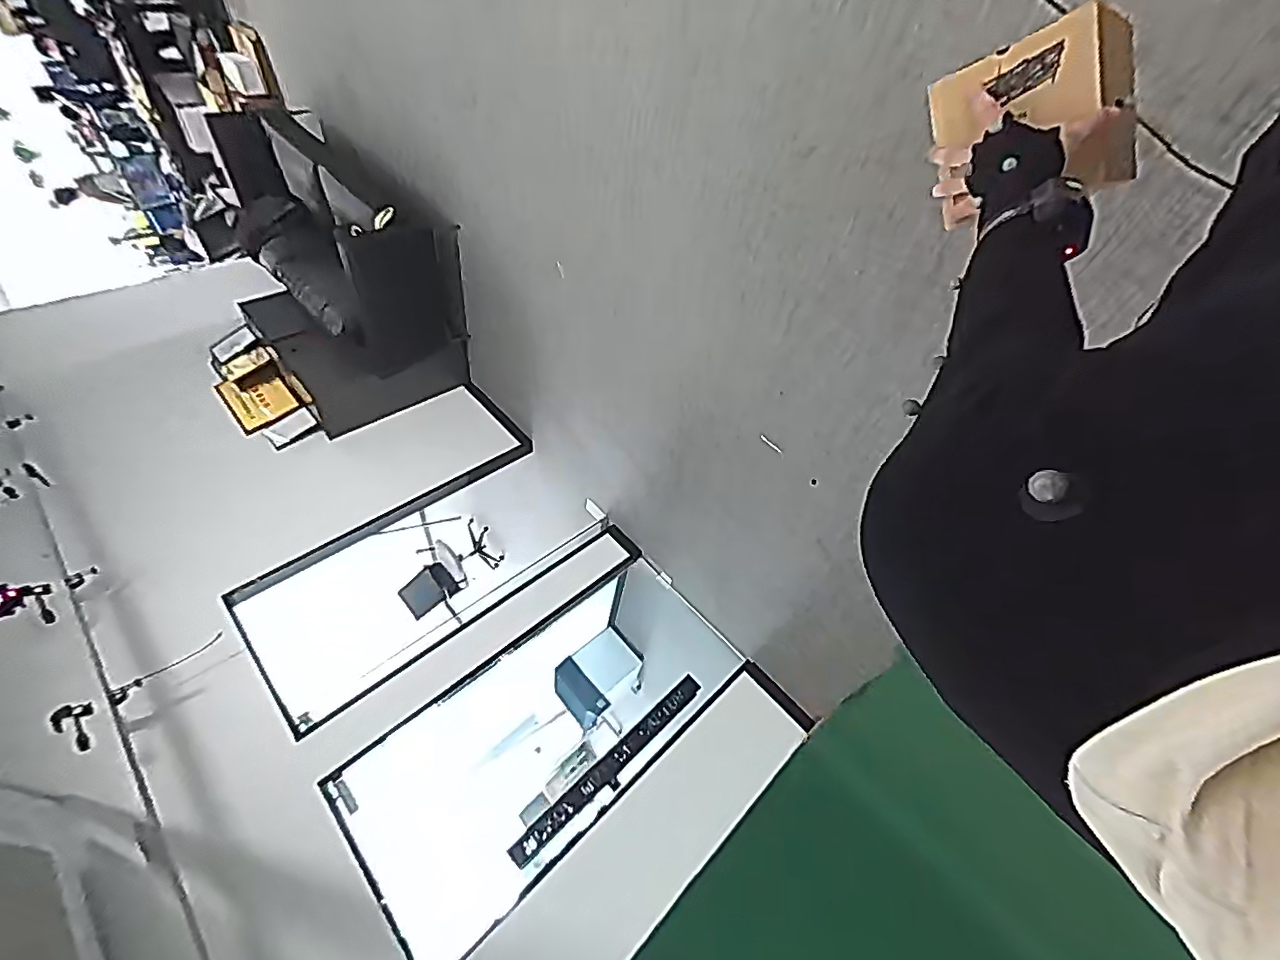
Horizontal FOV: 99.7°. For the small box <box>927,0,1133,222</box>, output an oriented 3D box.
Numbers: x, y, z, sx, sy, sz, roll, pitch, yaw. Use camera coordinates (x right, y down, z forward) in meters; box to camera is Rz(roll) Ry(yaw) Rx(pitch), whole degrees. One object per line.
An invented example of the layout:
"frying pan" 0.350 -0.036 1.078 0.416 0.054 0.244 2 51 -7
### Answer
"small box" 0.485 -0.442 0.672 0.168 0.176 0.179 3 114 52
